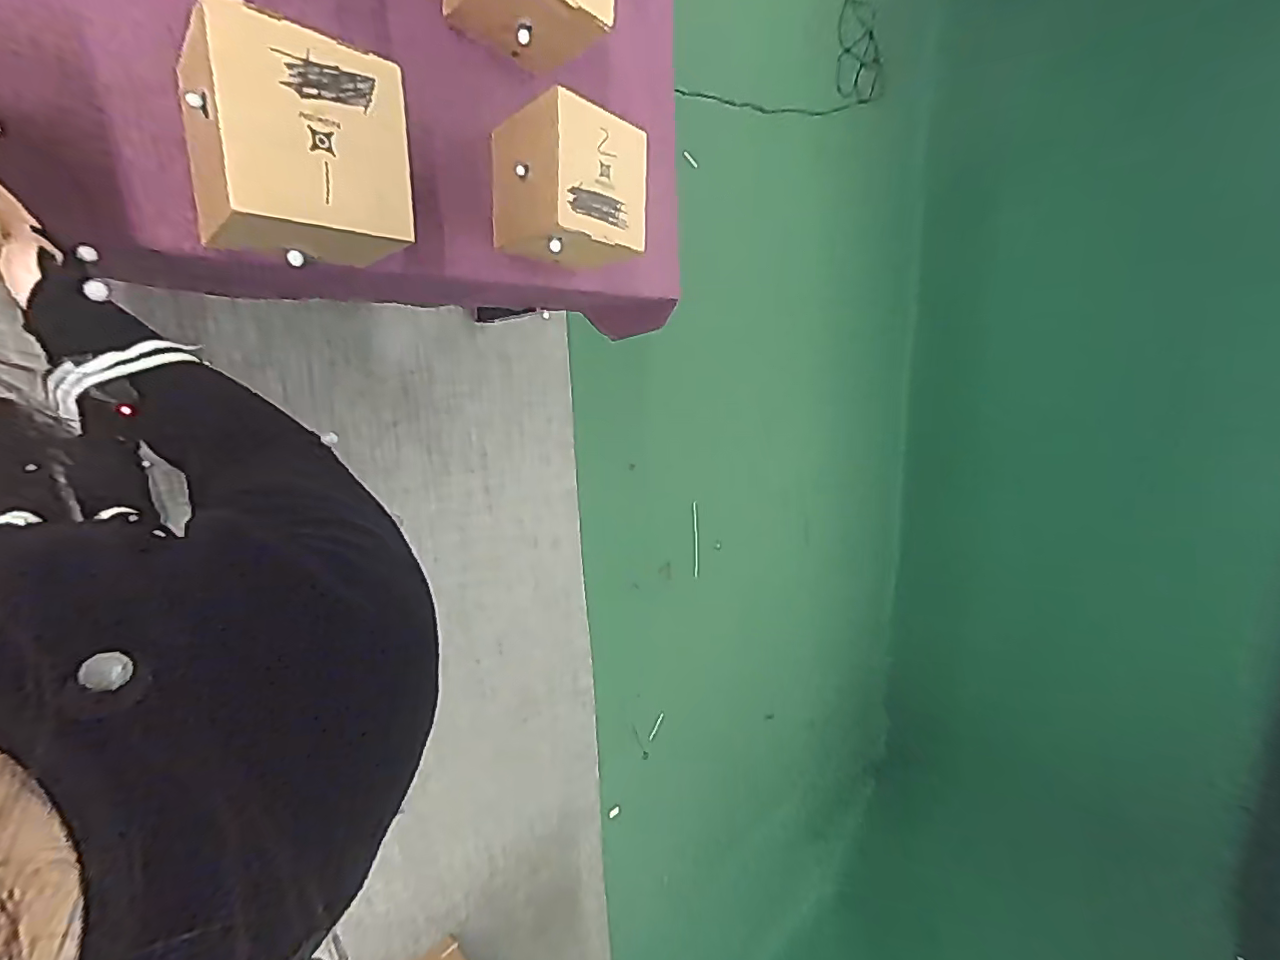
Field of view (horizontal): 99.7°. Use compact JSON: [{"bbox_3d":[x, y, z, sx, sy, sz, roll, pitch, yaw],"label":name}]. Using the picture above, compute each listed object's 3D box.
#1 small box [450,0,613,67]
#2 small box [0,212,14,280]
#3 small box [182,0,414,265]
[{"bbox_3d":[-0.148,-0.707,0.723,0.168,0.176,0.179,-4,100,-45],"label":"small box"},{"bbox_3d":[-0.568,-0.241,0.357,0.168,0.176,0.179,-20,105,-44],"label":"small box"},{"bbox_3d":[-0.360,-0.342,0.571,0.168,0.176,0.179,-10,104,-43],"label":"small box"}]
